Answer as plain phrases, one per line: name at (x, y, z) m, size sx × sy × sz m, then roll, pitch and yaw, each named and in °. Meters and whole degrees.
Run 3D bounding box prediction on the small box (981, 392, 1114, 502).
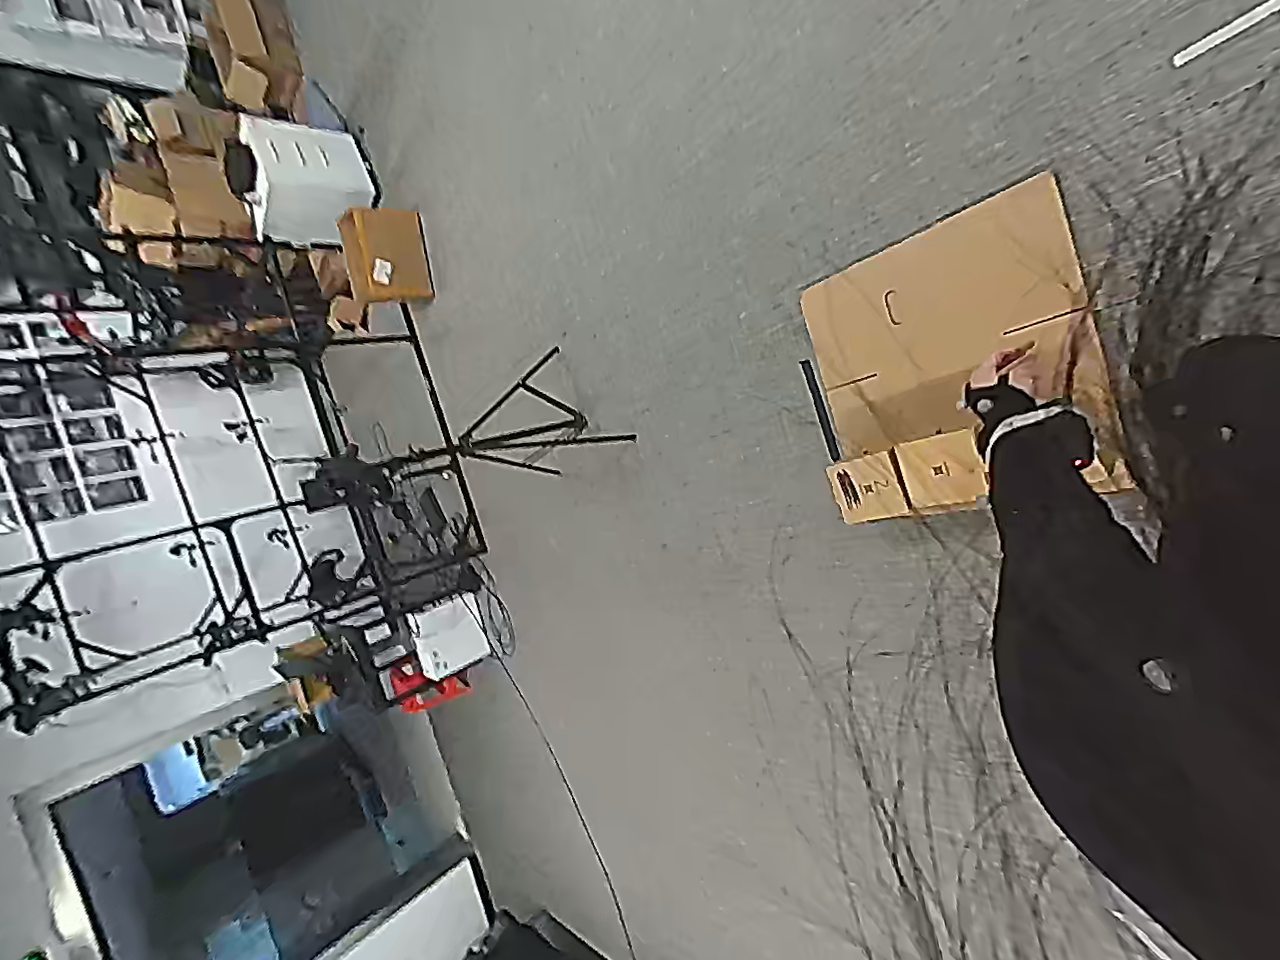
small box at (0.871, -0.074, 1.152) m, size 0.179 × 0.176 × 0.168 m, roll -29°, pitch 84°, yaw 47°
